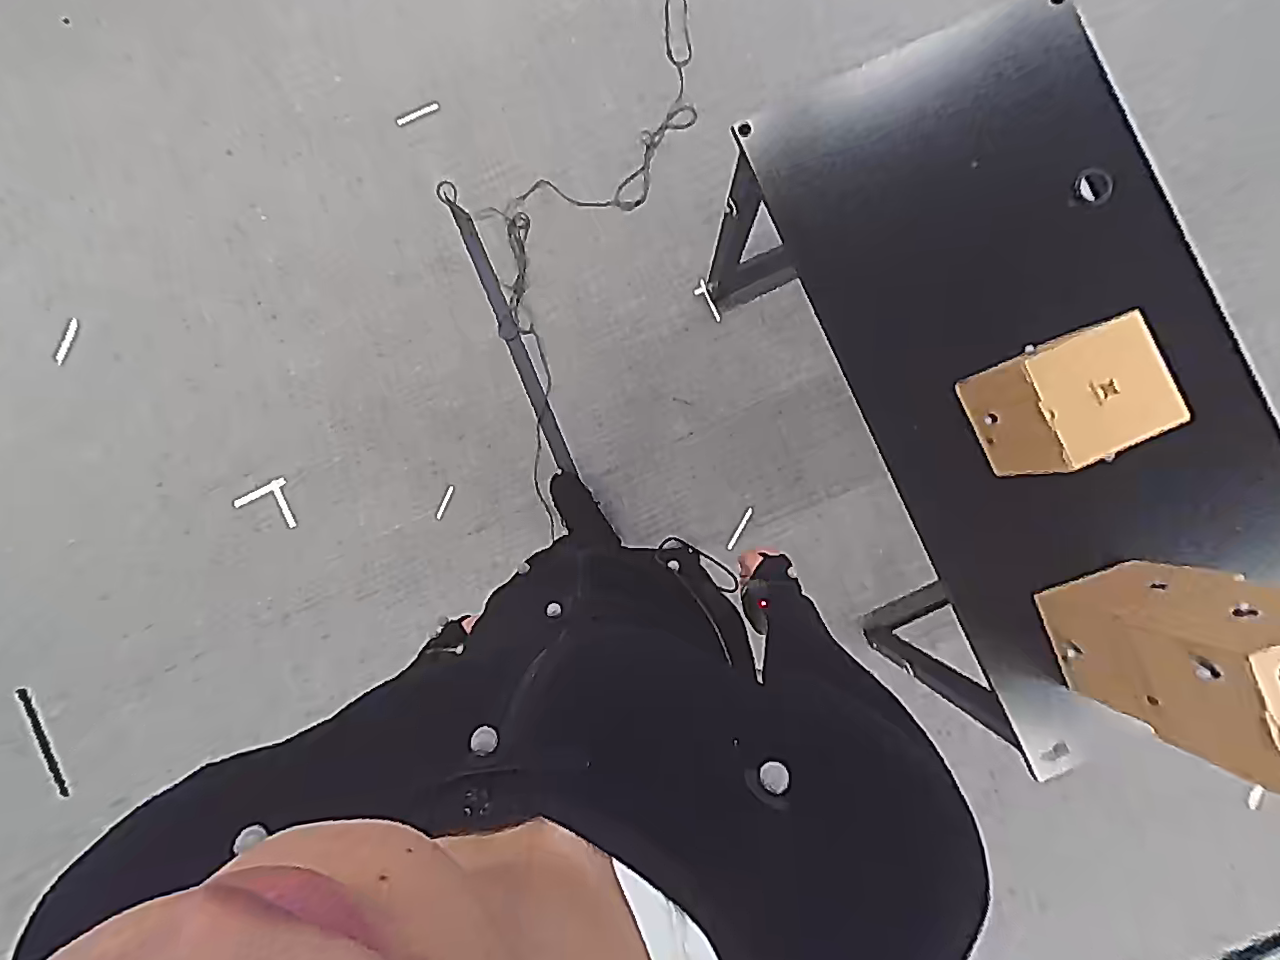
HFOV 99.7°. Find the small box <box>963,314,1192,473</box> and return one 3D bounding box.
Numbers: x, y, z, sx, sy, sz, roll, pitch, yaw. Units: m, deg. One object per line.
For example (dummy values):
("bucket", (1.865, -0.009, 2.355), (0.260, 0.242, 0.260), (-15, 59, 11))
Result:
("small box", (0.637, -0.118, 0.811), (0.179, 0.176, 0.168), (-24, 88, 1))

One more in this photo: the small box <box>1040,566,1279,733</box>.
("small box", (0.752, 0.235, 0.798), (0.179, 0.176, 0.168), (-19, 87, 1))
